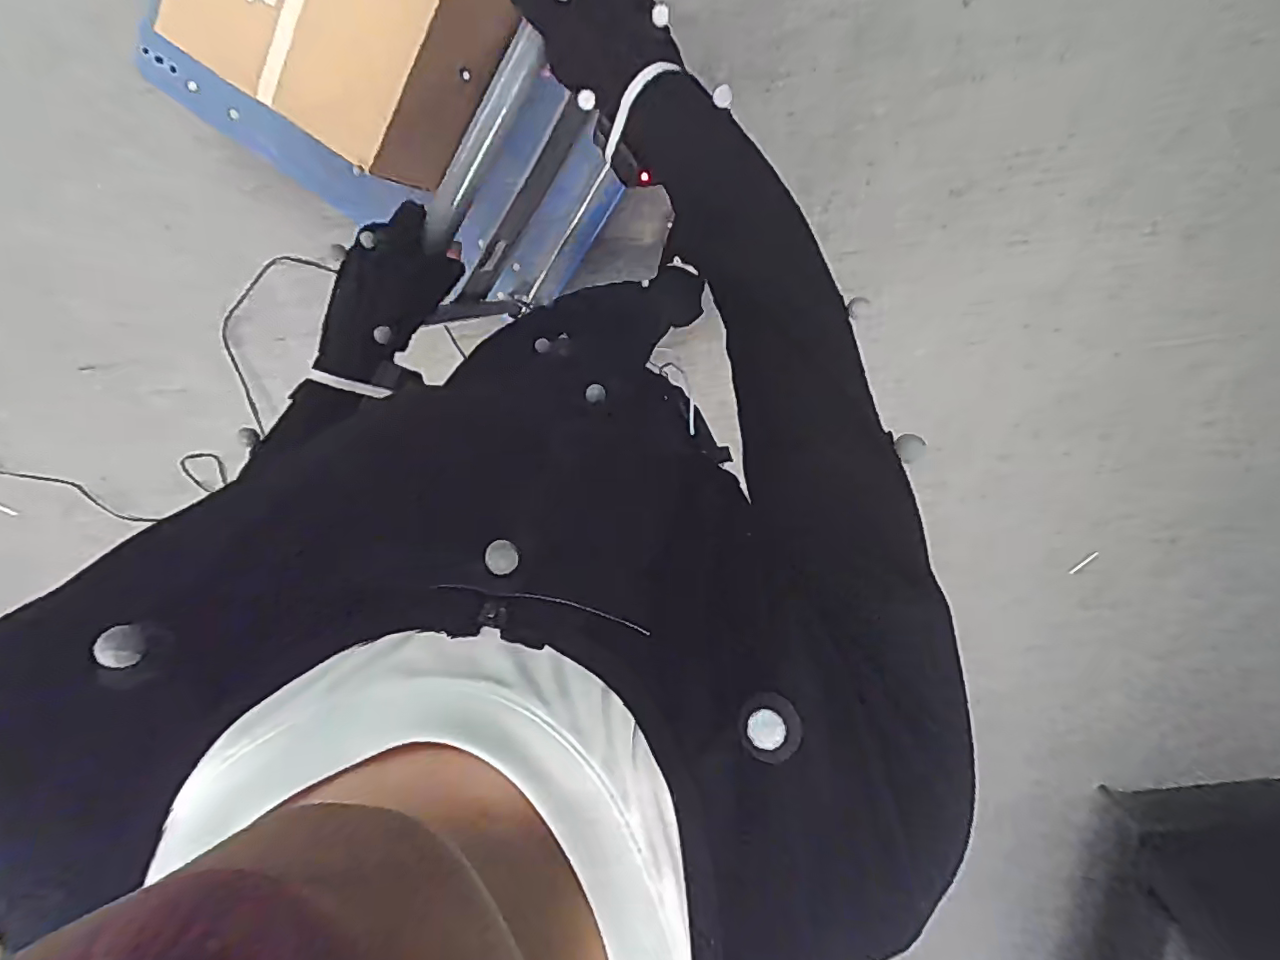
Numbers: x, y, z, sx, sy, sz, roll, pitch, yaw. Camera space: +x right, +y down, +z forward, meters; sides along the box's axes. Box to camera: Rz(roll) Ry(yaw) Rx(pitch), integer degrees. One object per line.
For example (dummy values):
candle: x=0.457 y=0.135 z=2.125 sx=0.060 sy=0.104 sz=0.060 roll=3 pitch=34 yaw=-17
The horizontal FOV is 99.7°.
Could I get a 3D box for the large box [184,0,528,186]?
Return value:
large box: x=-0.414 y=-0.762 z=0.867 sx=0.320 sy=0.320 sz=0.408 roll=31 pitch=110 yaw=-12
